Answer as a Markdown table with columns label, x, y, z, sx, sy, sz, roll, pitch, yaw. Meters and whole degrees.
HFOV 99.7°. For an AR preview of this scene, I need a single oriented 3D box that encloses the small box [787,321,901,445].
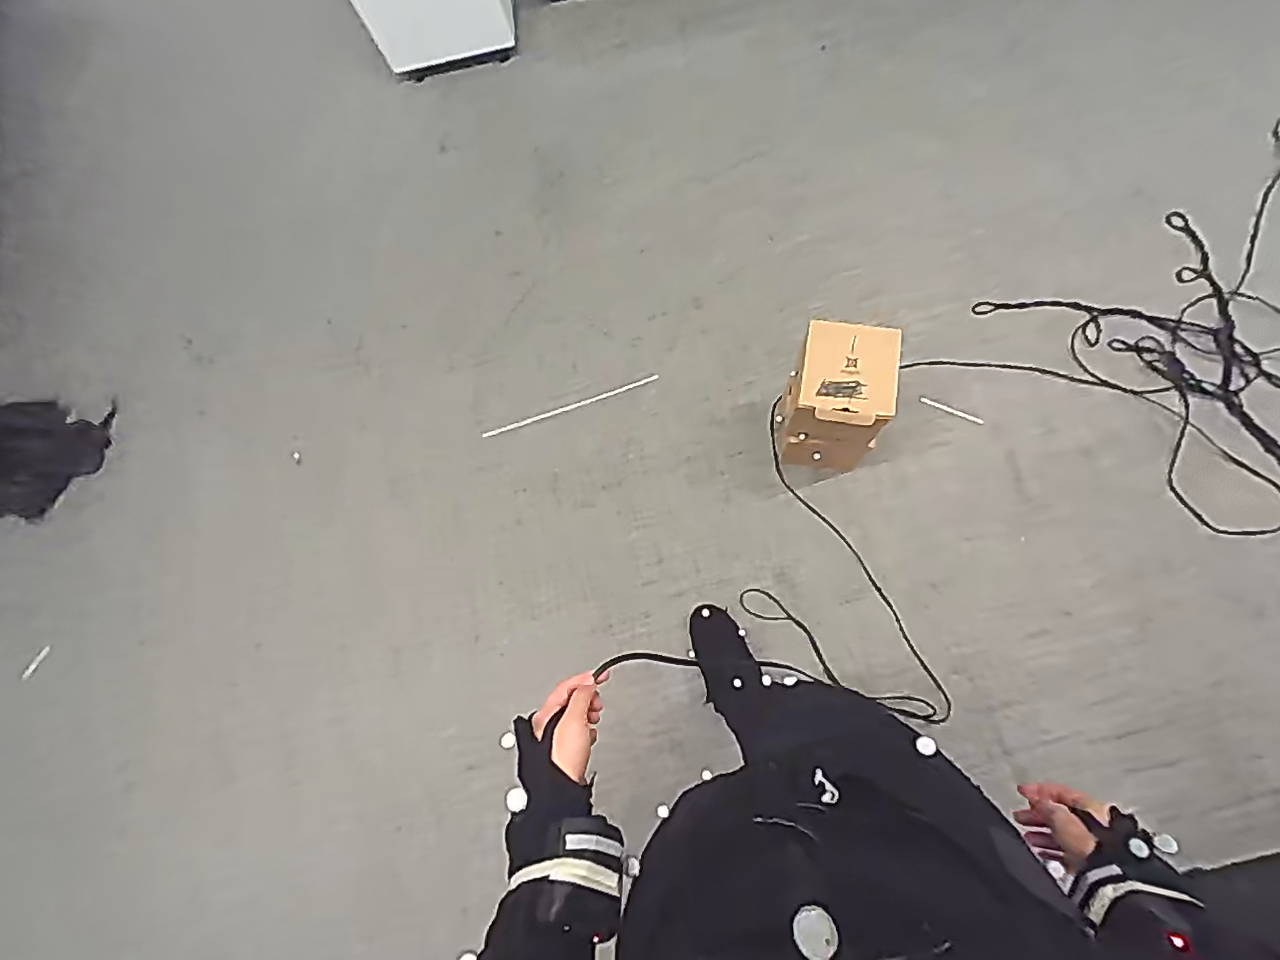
| label | x | y | z | sx | sy | sz | roll | pitch | yaw |
| --- | --- | --- | --- | --- | --- | --- | --- | --- | --- |
| small box | 0.385 | -0.180 | 1.047 | 0.168 | 0.176 | 0.179 | 9 | 76 | 9 |

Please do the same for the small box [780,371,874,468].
| label | x | y | z | sx | sy | sz | roll | pitch | yaw |
| --- | --- | --- | --- | --- | --- | --- | --- | --- | --- |
| small box | 0.409 | -0.129 | 1.202 | 0.179 | 0.176 | 0.168 | 4 | 76 | 9 |
